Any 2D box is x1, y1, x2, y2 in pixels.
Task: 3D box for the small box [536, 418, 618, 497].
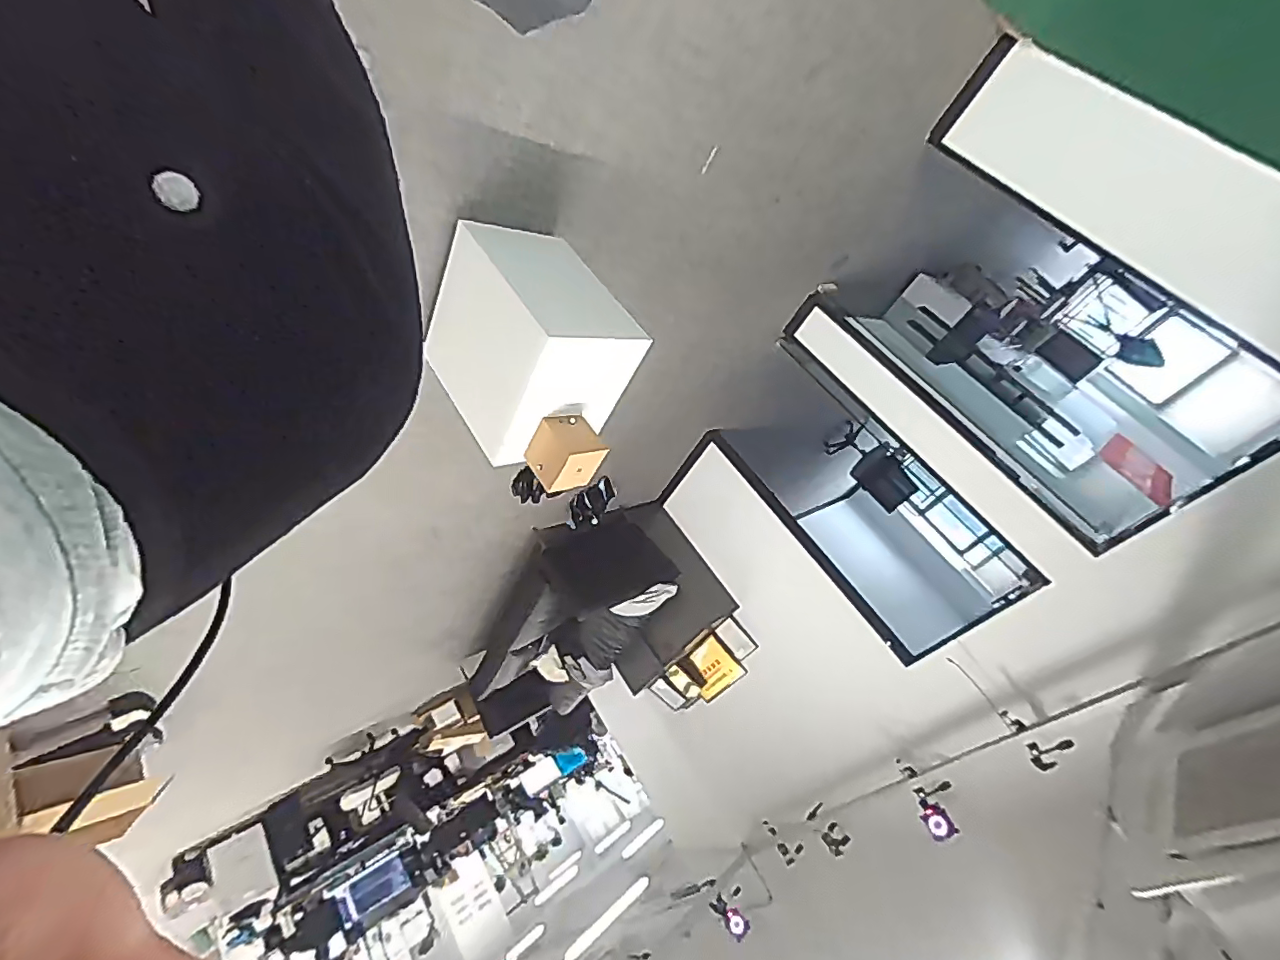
[{"bbox_3d":[-0.208,-0.076,1.727,0.168,0.176,0.179,-14,146,-45],"label":"small box"}]
